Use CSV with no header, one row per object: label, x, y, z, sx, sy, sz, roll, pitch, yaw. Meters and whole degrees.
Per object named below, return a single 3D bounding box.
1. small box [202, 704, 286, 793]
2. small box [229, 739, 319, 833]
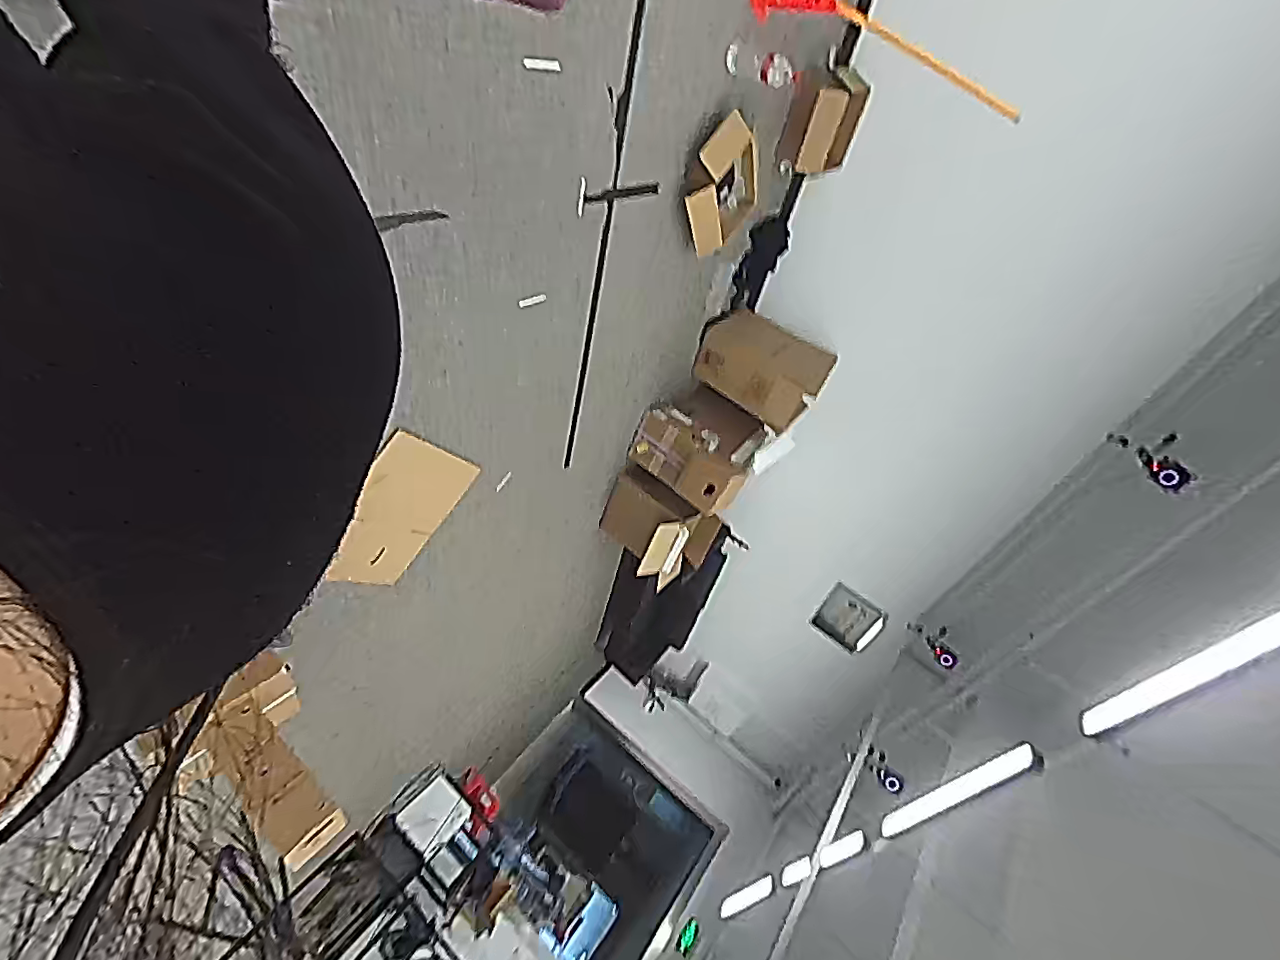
small box,-1.278,0.862,1.756,0.168,0.176,0.179,-34,152,-46
small box,-1.154,0.958,1.708,0.168,0.176,0.179,-35,151,-43
